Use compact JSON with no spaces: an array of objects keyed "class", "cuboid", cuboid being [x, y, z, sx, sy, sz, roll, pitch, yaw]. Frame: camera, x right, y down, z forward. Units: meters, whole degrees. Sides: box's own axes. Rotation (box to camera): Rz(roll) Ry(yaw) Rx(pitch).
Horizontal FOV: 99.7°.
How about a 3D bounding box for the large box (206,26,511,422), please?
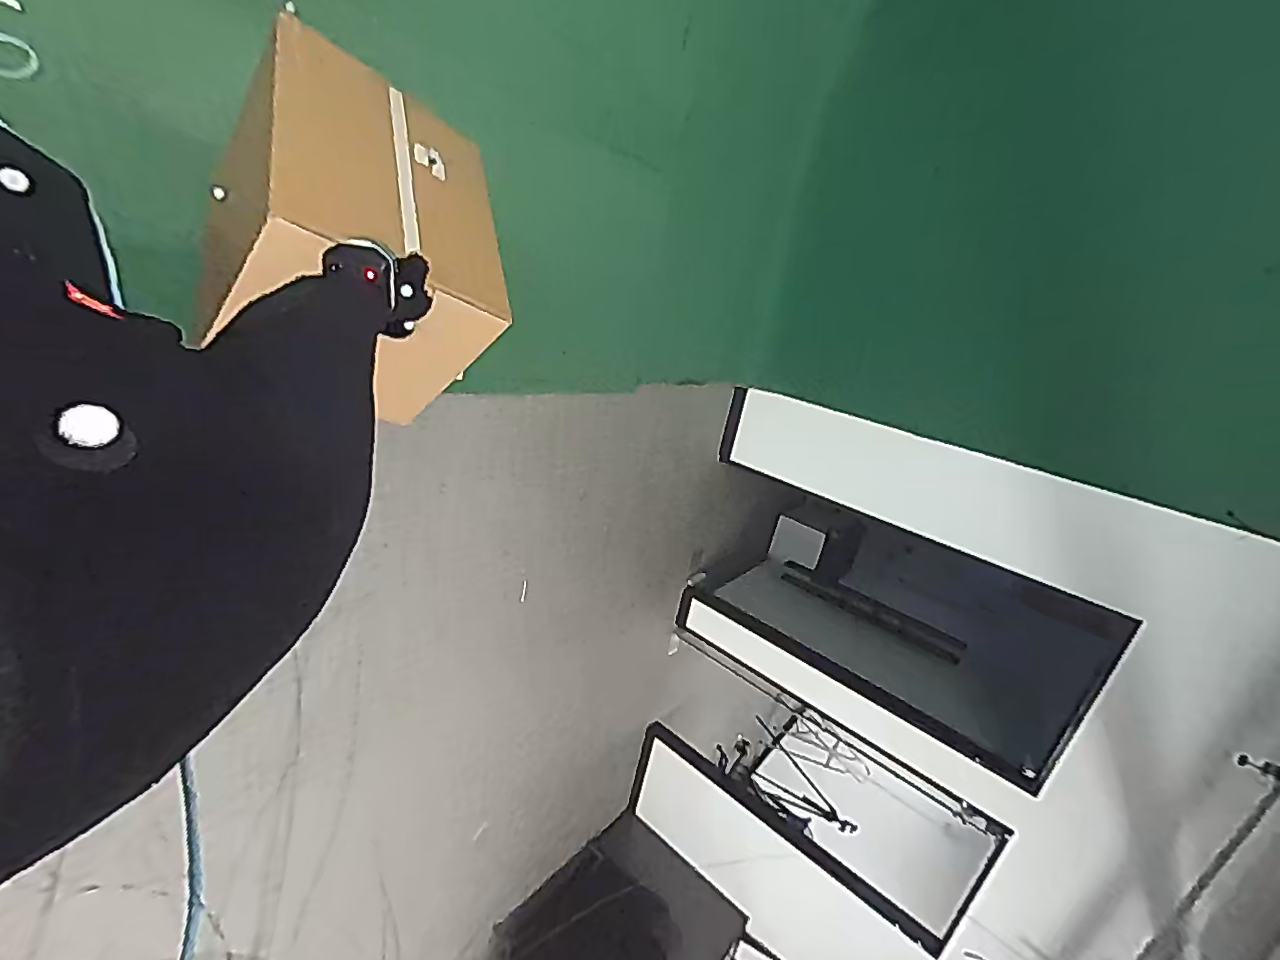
[{"class":"large box","cuboid":[-0.448,-0.357,0.851,0.320,0.408,0.320,-32,152,31]}]
